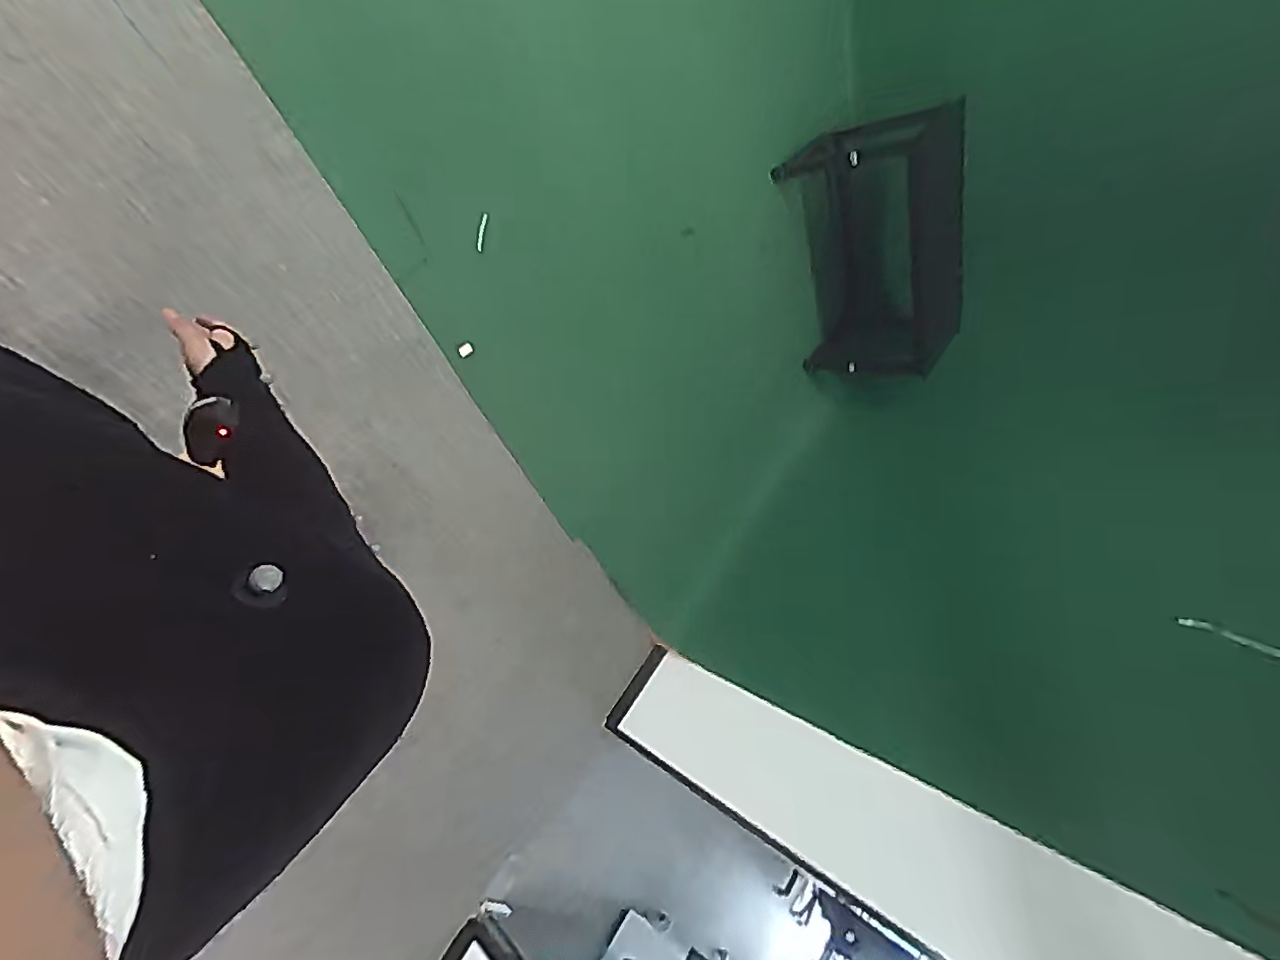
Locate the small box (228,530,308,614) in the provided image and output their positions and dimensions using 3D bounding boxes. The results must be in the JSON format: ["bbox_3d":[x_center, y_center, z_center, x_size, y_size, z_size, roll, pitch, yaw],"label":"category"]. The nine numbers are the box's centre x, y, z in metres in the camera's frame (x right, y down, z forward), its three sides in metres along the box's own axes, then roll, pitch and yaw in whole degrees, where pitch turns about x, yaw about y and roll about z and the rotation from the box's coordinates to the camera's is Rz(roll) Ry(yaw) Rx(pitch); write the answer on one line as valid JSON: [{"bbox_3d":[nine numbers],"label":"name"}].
[{"bbox_3d":[-0.928,0.253,1.421,0.168,0.176,0.179,-55,136,-21],"label":"small box"}]
